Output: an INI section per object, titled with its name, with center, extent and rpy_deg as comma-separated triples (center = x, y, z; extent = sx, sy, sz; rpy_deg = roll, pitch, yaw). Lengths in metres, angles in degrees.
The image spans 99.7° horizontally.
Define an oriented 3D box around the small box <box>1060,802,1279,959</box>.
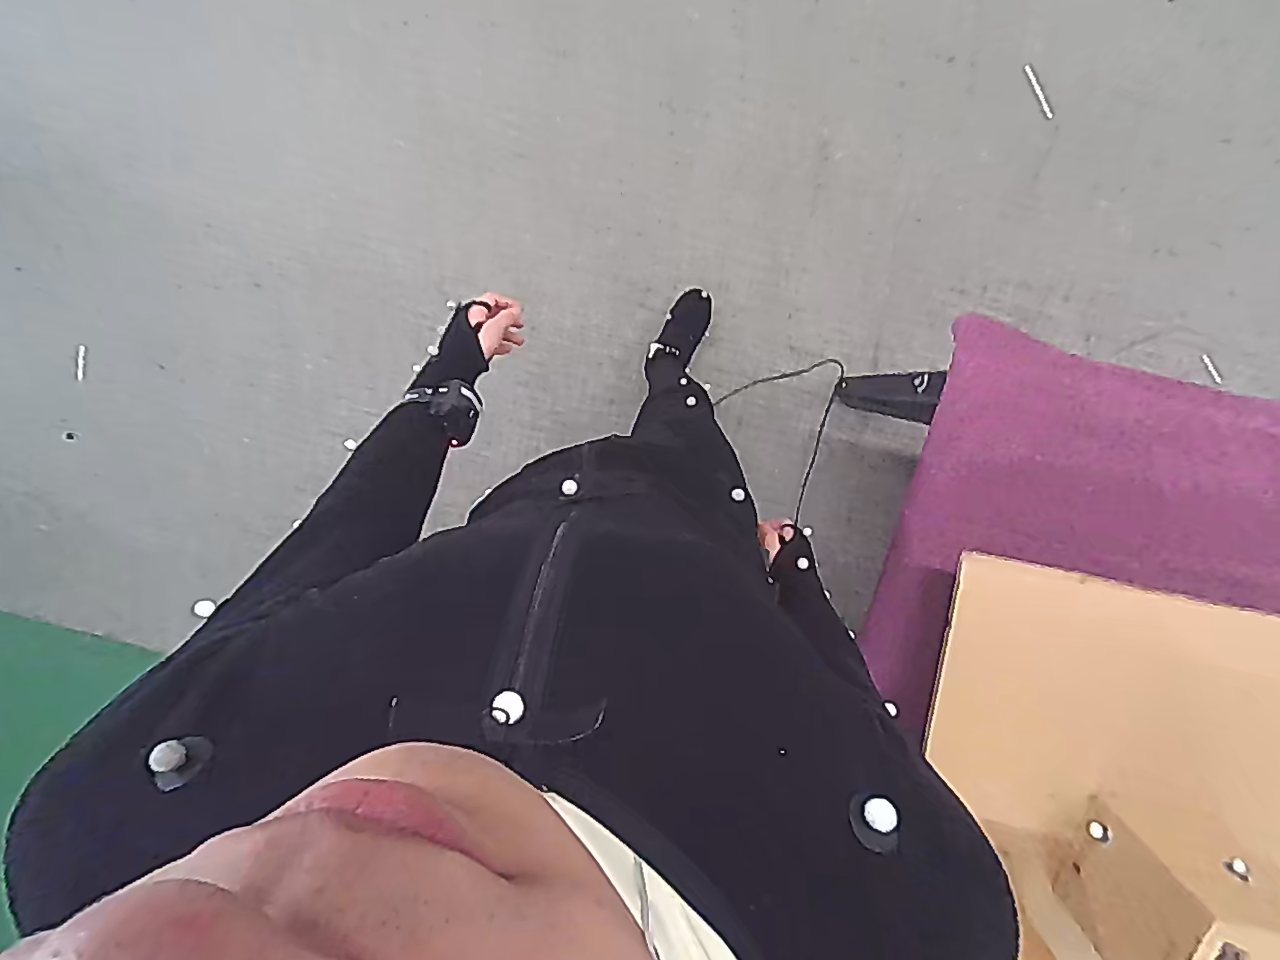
[small box]
center = 0.675, 0.535, 0.663
extent = 0.179, 0.176, 0.168
rpy_deg = 11, 103, 0
